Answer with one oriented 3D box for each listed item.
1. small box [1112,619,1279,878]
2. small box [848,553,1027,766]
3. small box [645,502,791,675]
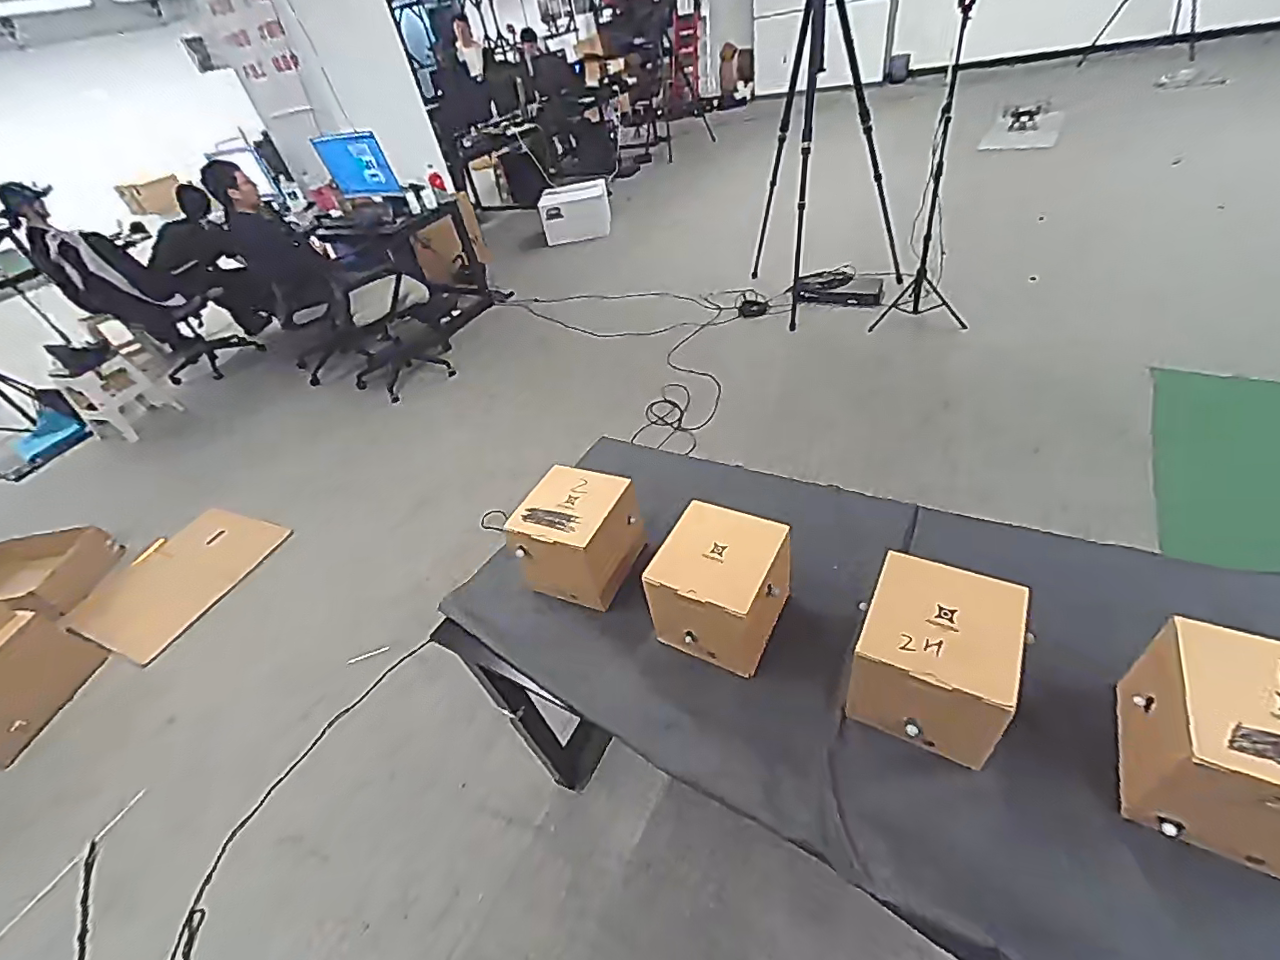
[{"bbox_3d":[0.646,0.291,0.584,0.168,0.176,0.179,15,47,28],"label":"small box"},{"bbox_3d":[0.383,0.233,0.714,0.168,0.176,0.179,15,48,29],"label":"small box"},{"bbox_3d":[0.127,0.168,0.853,0.168,0.176,0.179,15,49,28],"label":"small box"}]
